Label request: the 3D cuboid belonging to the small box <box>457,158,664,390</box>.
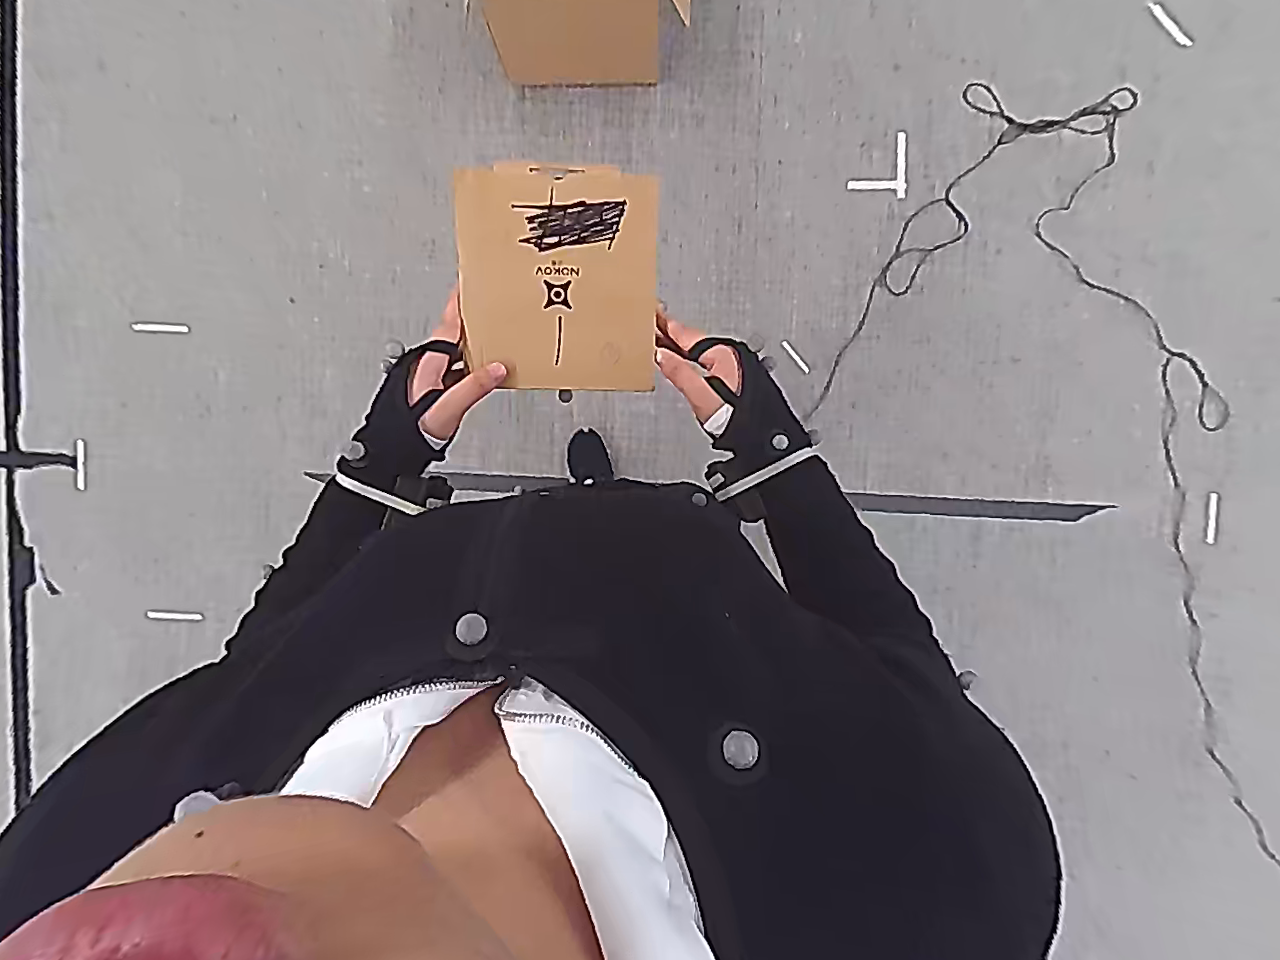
[{"bbox_3d":[-0.070,-0.180,0.520,0.168,0.176,0.179,1,102,-3],"label":"small box"}]
